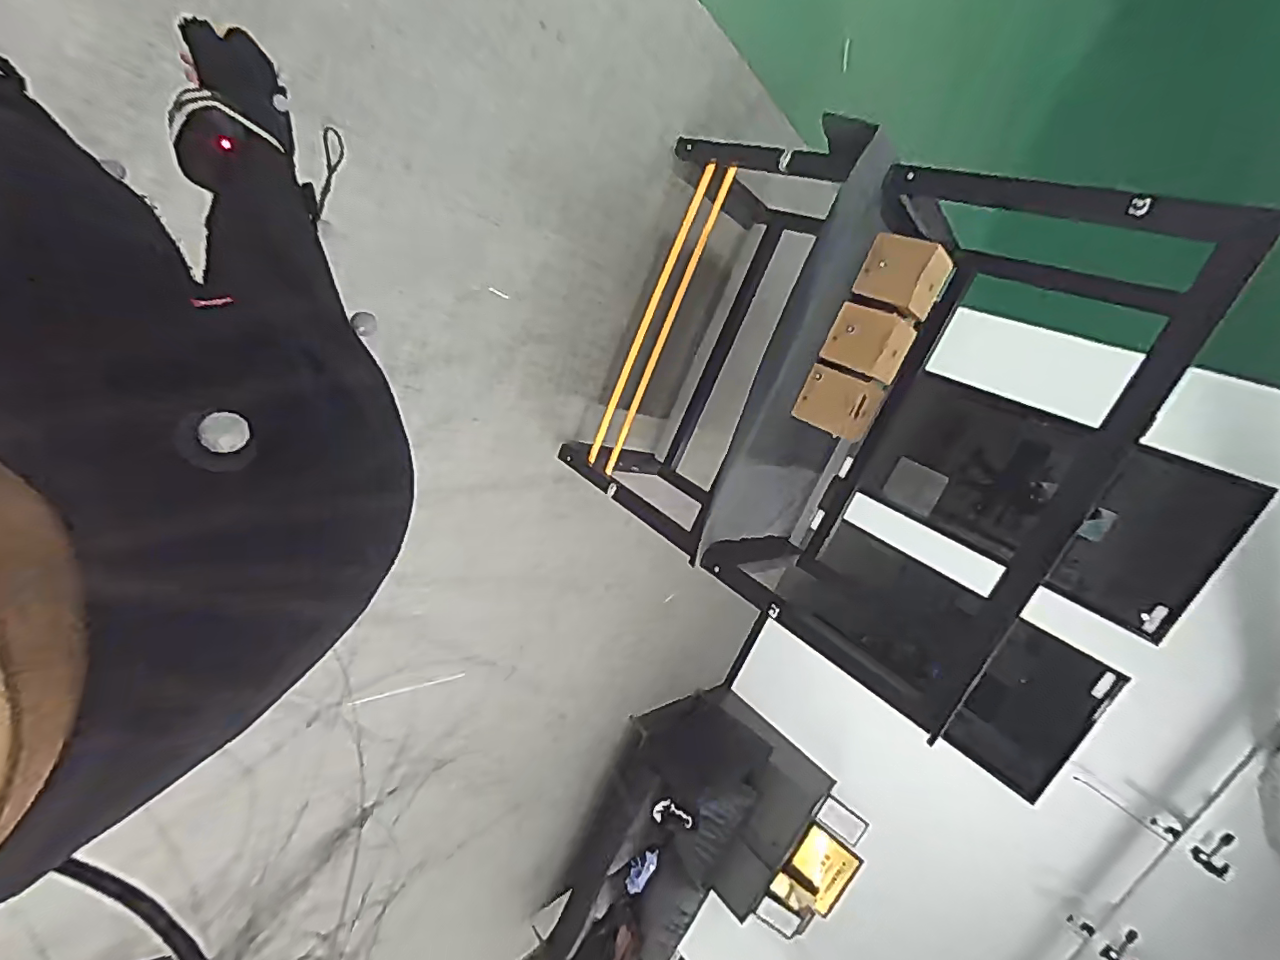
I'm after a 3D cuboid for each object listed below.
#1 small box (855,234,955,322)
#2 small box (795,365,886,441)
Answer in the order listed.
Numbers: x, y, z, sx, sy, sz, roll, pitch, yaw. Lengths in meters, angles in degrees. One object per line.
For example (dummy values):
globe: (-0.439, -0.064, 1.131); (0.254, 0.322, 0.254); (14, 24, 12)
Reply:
small box: (0.728, -0.560, 1.493); (0.179, 0.176, 0.168); (2, 116, -49)
small box: (0.587, -0.229, 1.597); (0.179, 0.176, 0.168); (2, 116, -50)
